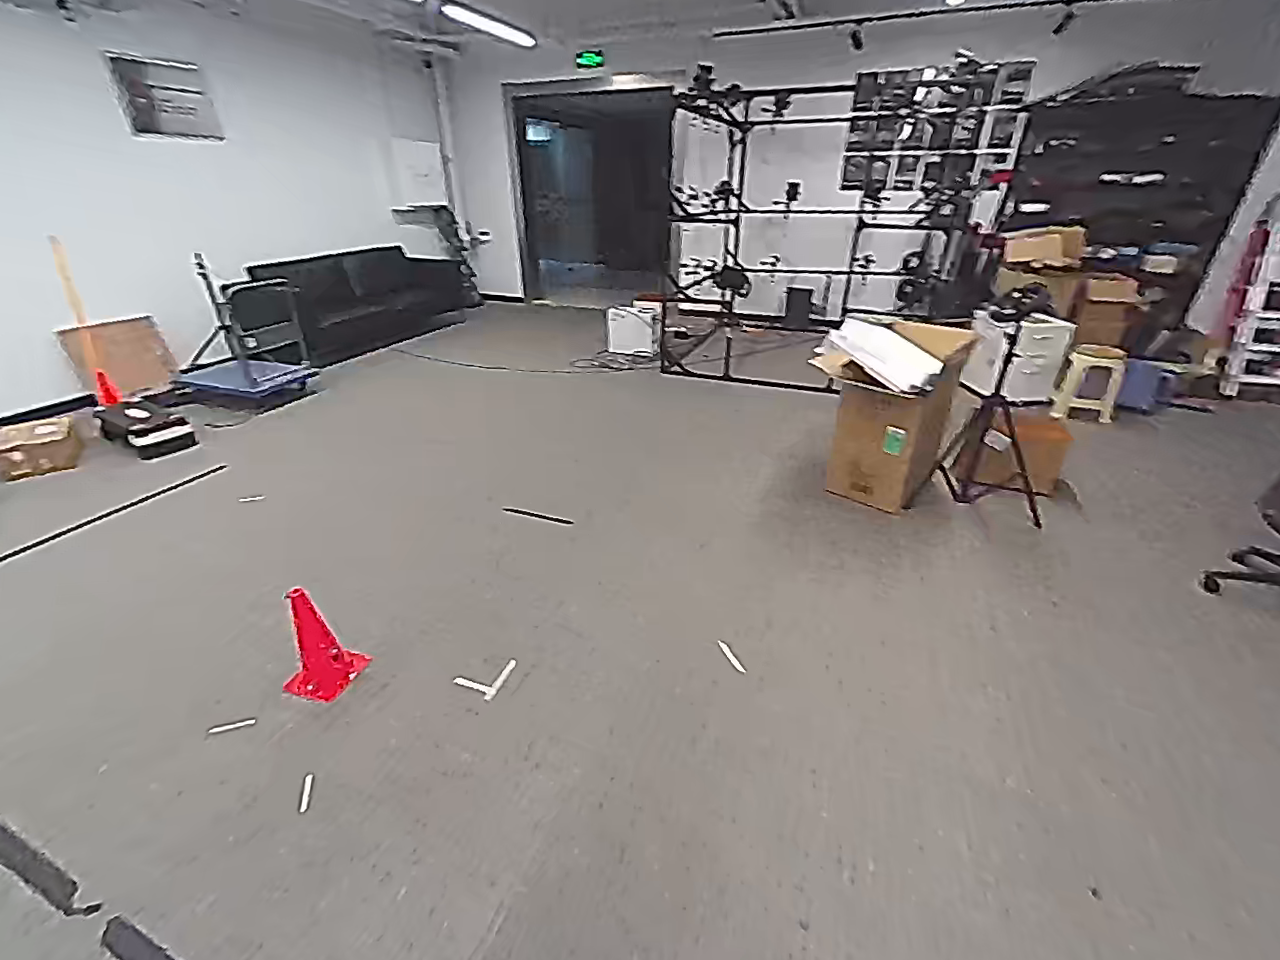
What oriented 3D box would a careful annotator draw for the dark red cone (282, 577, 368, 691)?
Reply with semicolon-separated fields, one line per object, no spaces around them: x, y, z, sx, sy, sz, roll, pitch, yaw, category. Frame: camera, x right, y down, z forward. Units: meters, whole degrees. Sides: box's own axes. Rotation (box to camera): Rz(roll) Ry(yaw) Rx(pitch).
-1.040;0.468;1.714;0.202;0.394;0.201;7;30;13;dark red cone
